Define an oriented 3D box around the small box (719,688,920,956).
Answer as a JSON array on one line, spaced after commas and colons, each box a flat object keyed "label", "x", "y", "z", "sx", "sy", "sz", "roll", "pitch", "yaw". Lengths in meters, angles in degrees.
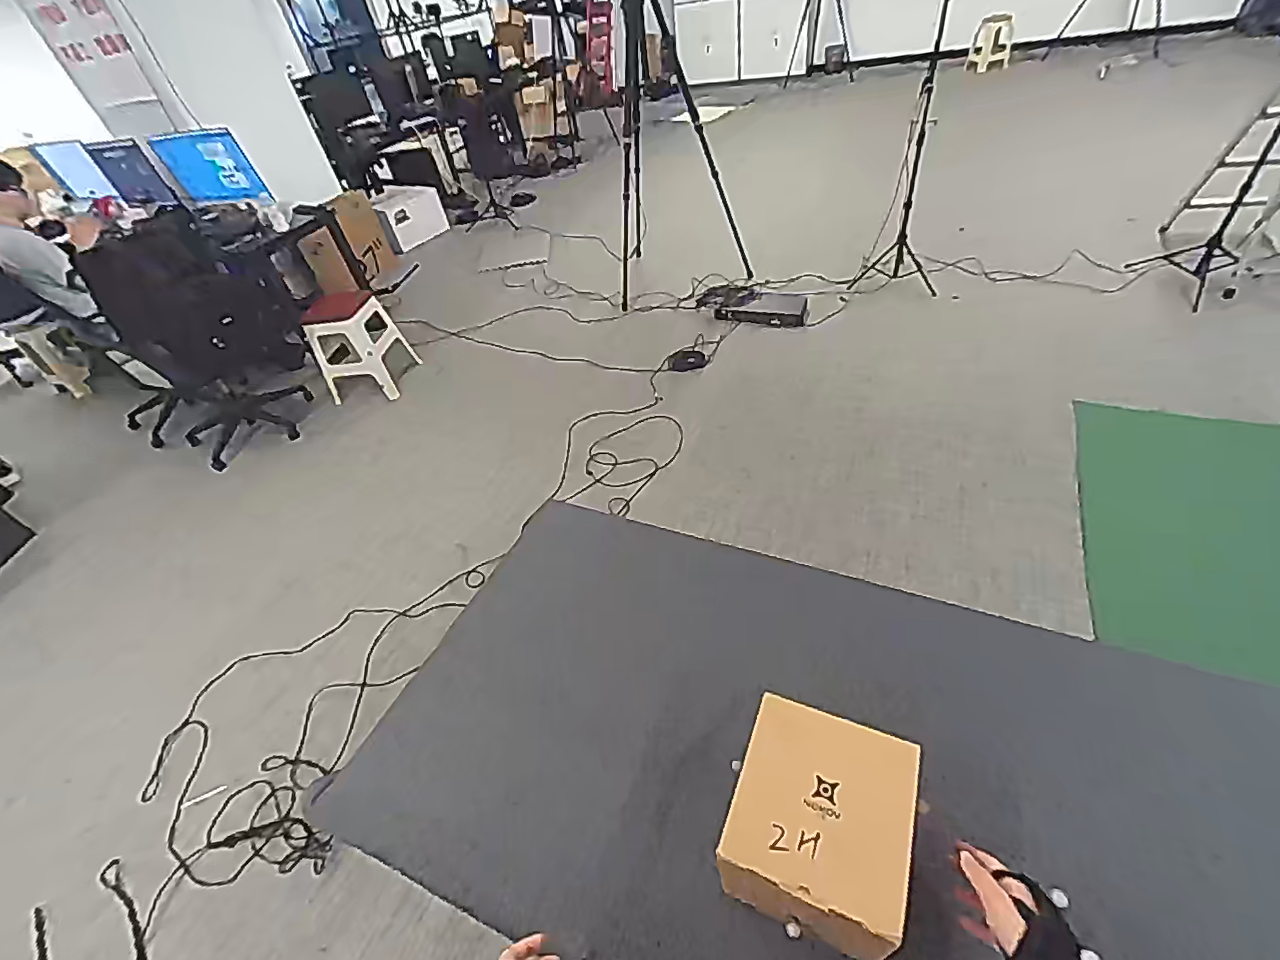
[{"label": "small box", "x": 0.192, "y": 0.370, "z": 0.592, "sx": 0.168, "sy": 0.176, "sz": 0.179, "roll": 12, "pitch": 48, "yaw": 23}]
